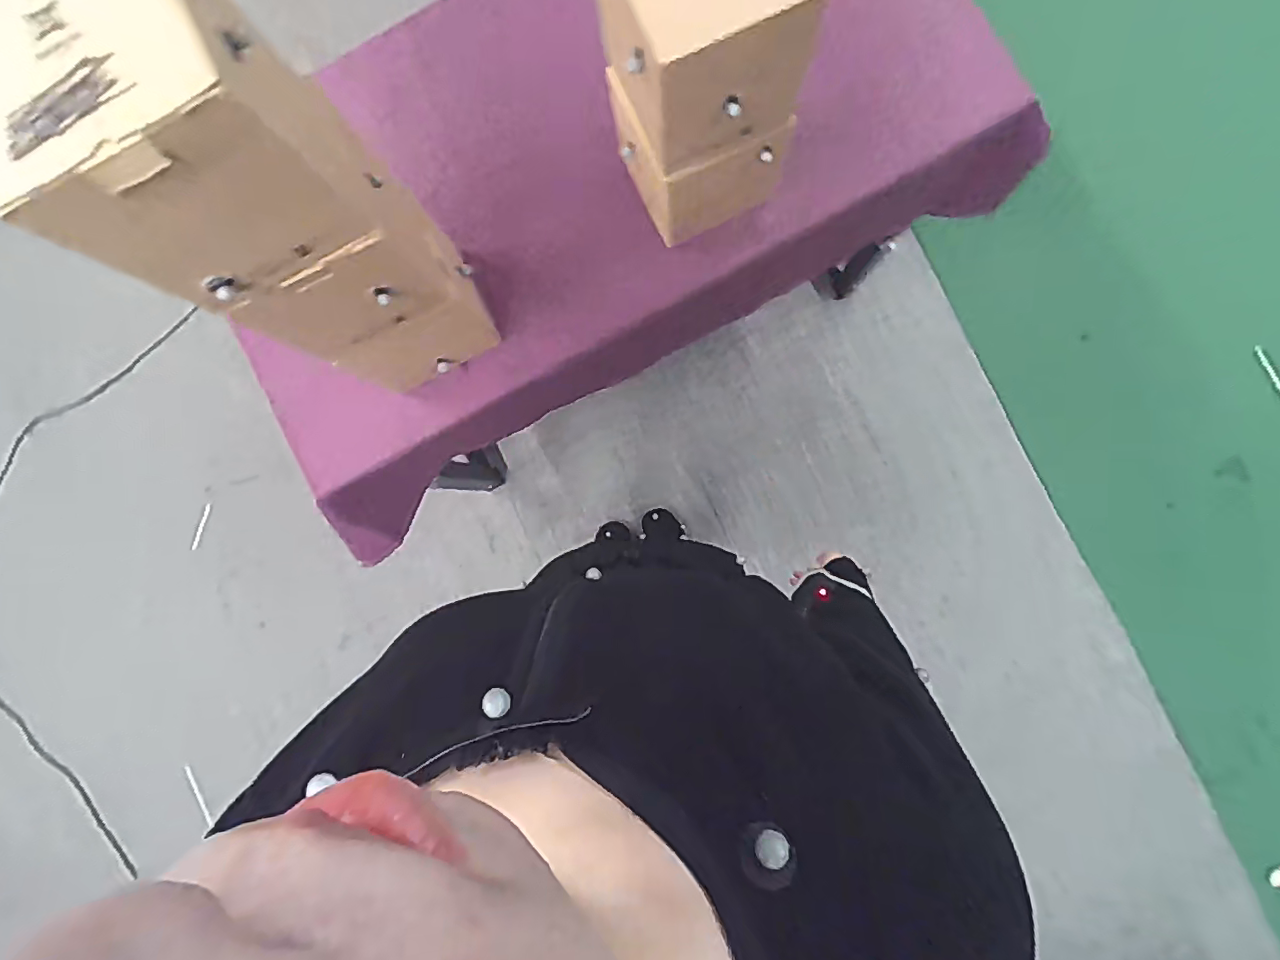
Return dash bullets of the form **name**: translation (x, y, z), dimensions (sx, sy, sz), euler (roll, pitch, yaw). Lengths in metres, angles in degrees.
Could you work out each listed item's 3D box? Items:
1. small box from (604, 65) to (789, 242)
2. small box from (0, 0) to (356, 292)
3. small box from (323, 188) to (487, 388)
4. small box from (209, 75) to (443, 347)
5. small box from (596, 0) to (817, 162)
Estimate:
- **small box**: translation (0.072, -0.456, 0.722), dimensions (0.179, 0.176, 0.168), euler (-25, 86, 2)
- **small box**: translation (-0.359, -0.269, 0.412), dimensions (0.168, 0.176, 0.179), euler (-28, 85, 1)
- **small box**: translation (-0.329, -0.247, 0.738), dimensions (0.179, 0.176, 0.168), euler (-26, 86, 2)
- **small box**: translation (-0.340, -0.260, 0.575), dimensions (0.168, 0.176, 0.179), euler (-25, 85, 2)
- **small box**: translation (0.059, -0.469, 0.558), dimensions (0.168, 0.176, 0.179), euler (-23, 86, 2)
